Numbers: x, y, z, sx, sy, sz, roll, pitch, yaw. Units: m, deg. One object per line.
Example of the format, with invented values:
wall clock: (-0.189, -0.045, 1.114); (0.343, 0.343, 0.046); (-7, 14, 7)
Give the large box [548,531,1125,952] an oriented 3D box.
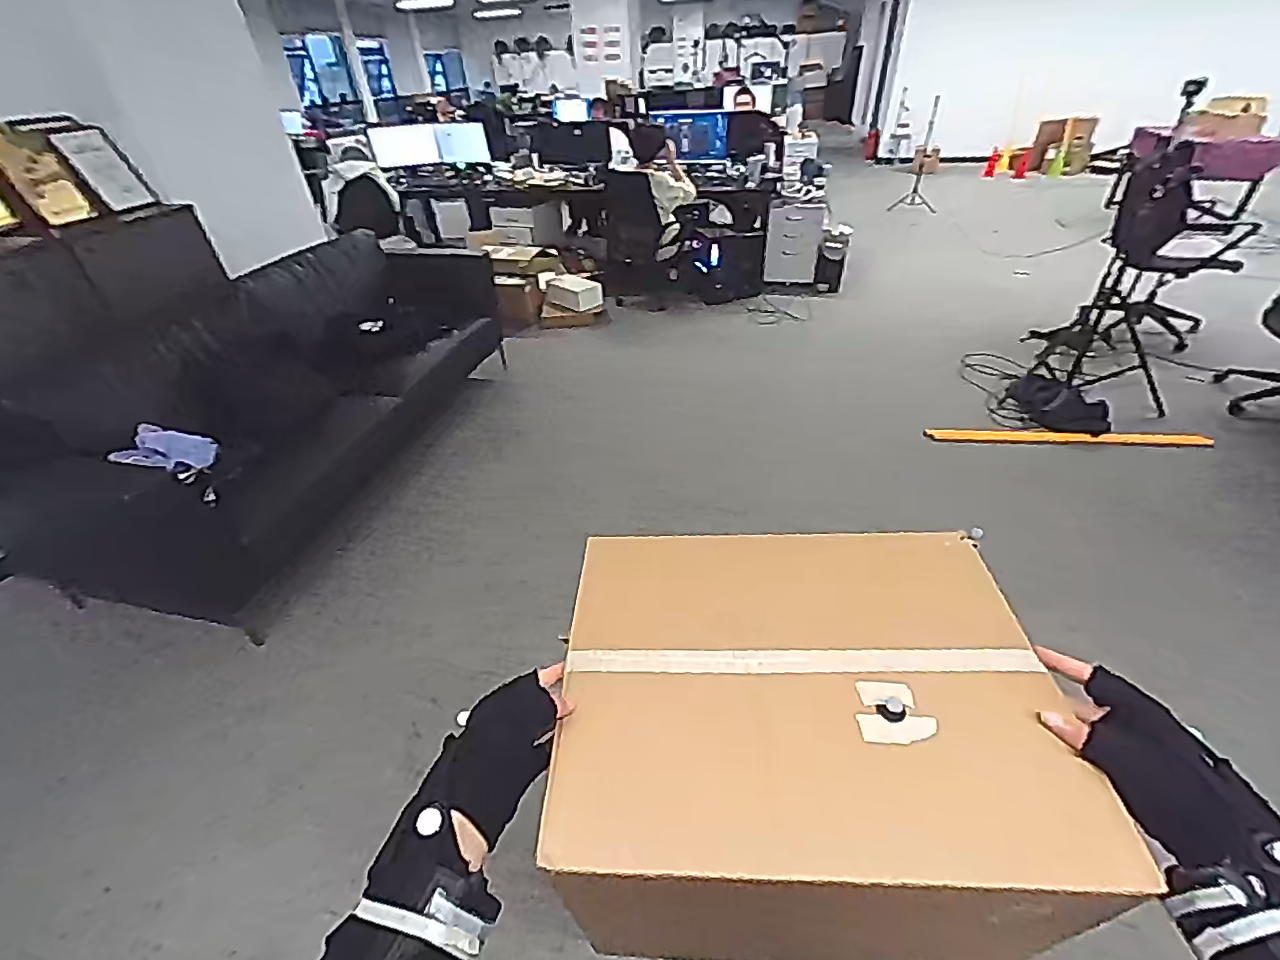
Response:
large box: (0.143, 0.277, 0.581); (0.408, 0.320, 0.320); (-2, 41, 5)
